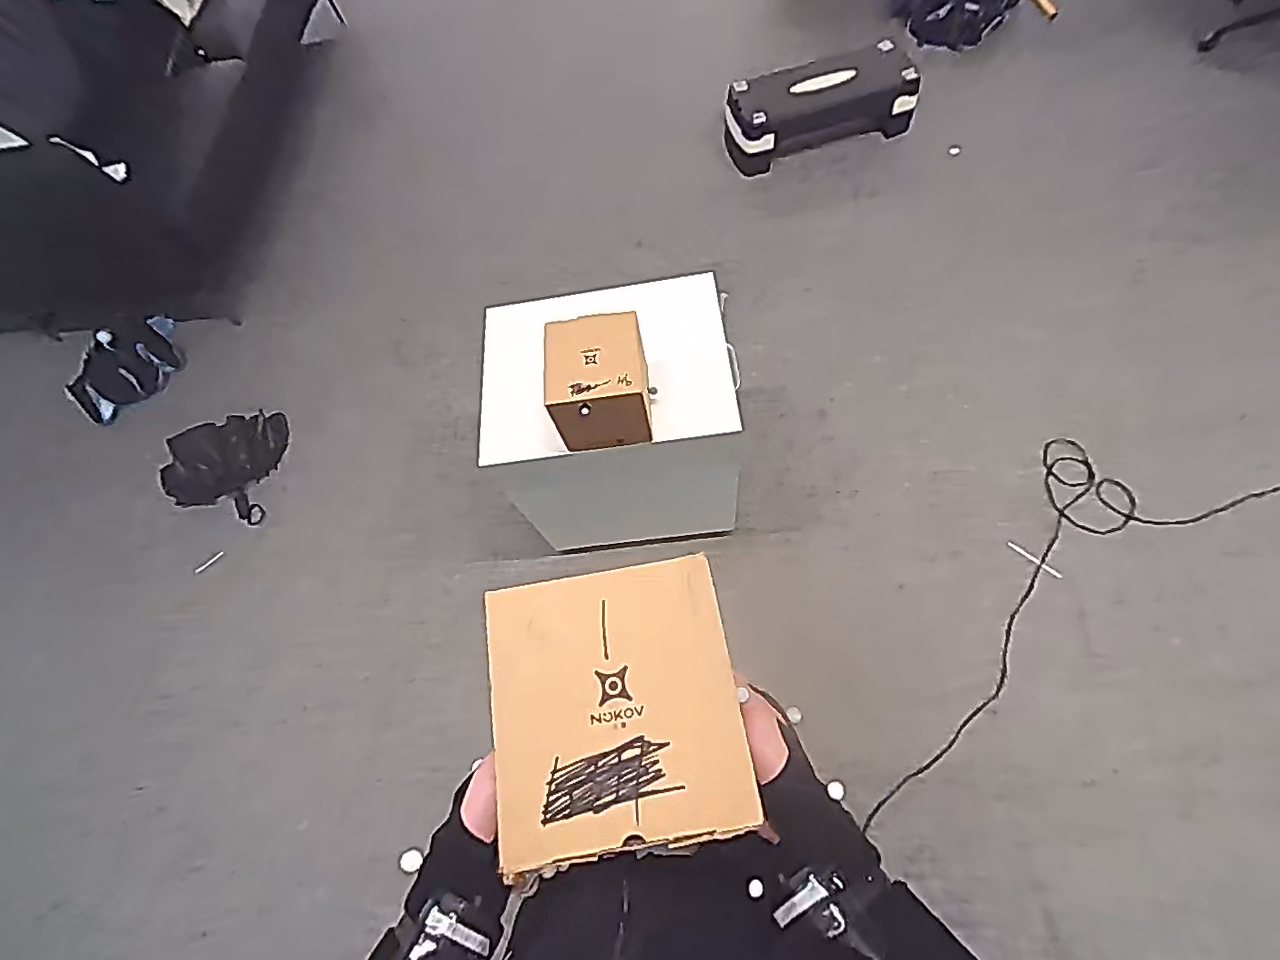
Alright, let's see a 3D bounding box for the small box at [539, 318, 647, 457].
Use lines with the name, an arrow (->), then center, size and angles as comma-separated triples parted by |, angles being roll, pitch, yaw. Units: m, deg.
small box -> -0.081, -0.163, 0.985 | 0.168, 0.176, 0.179 | -7, 63, 4
